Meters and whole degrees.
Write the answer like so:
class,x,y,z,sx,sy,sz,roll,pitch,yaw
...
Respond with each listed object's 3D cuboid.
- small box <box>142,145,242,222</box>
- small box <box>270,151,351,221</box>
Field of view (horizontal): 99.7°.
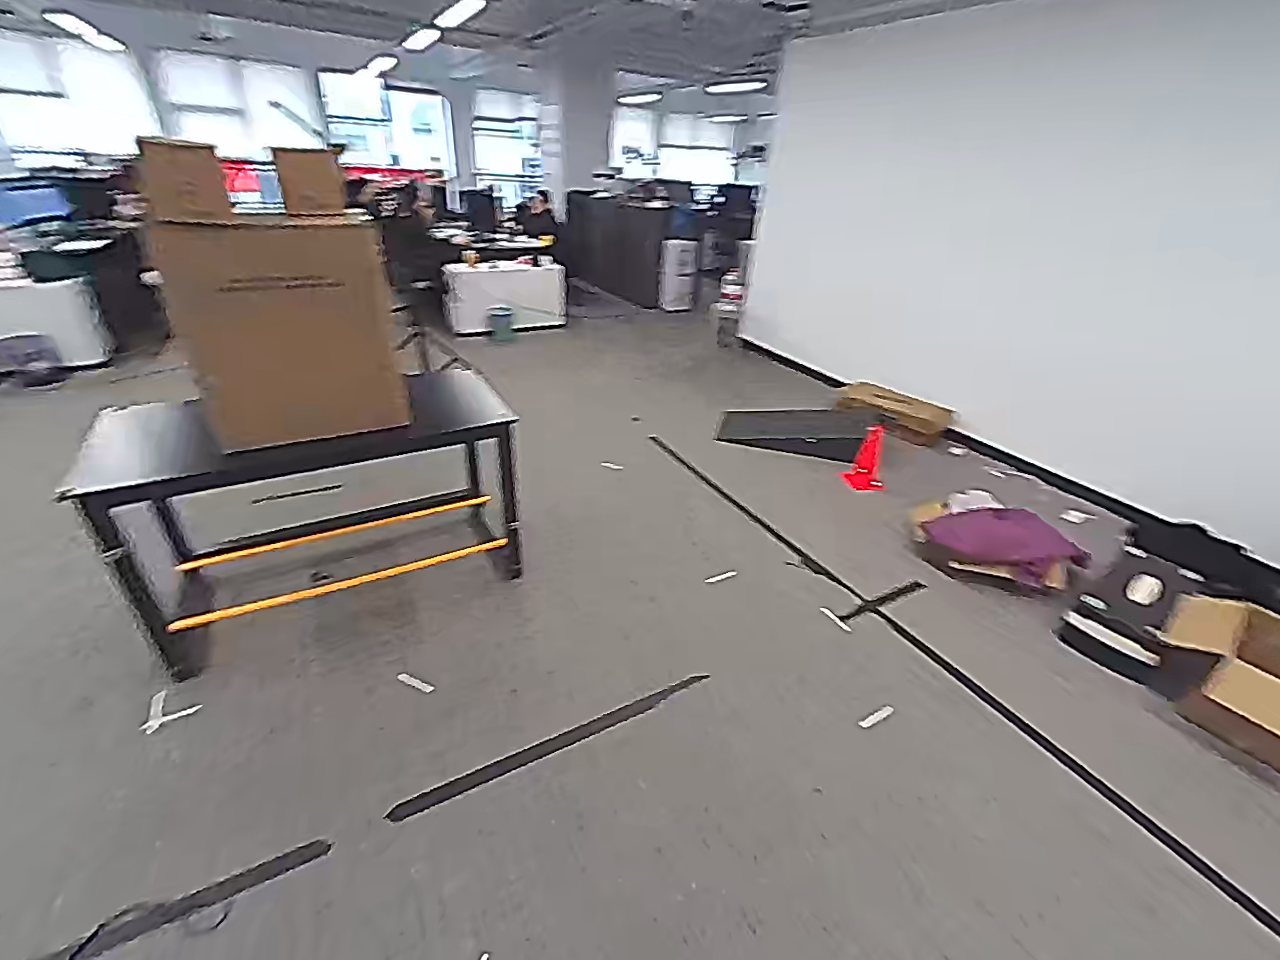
class,x,y,z,sx,sy,sz,roll,pitch,yaw
small box,-1.209,-0.807,1.474,0.168,0.176,0.179,-15,35,-28
small box,-0.968,-0.863,1.590,0.168,0.176,0.179,-16,35,-28
